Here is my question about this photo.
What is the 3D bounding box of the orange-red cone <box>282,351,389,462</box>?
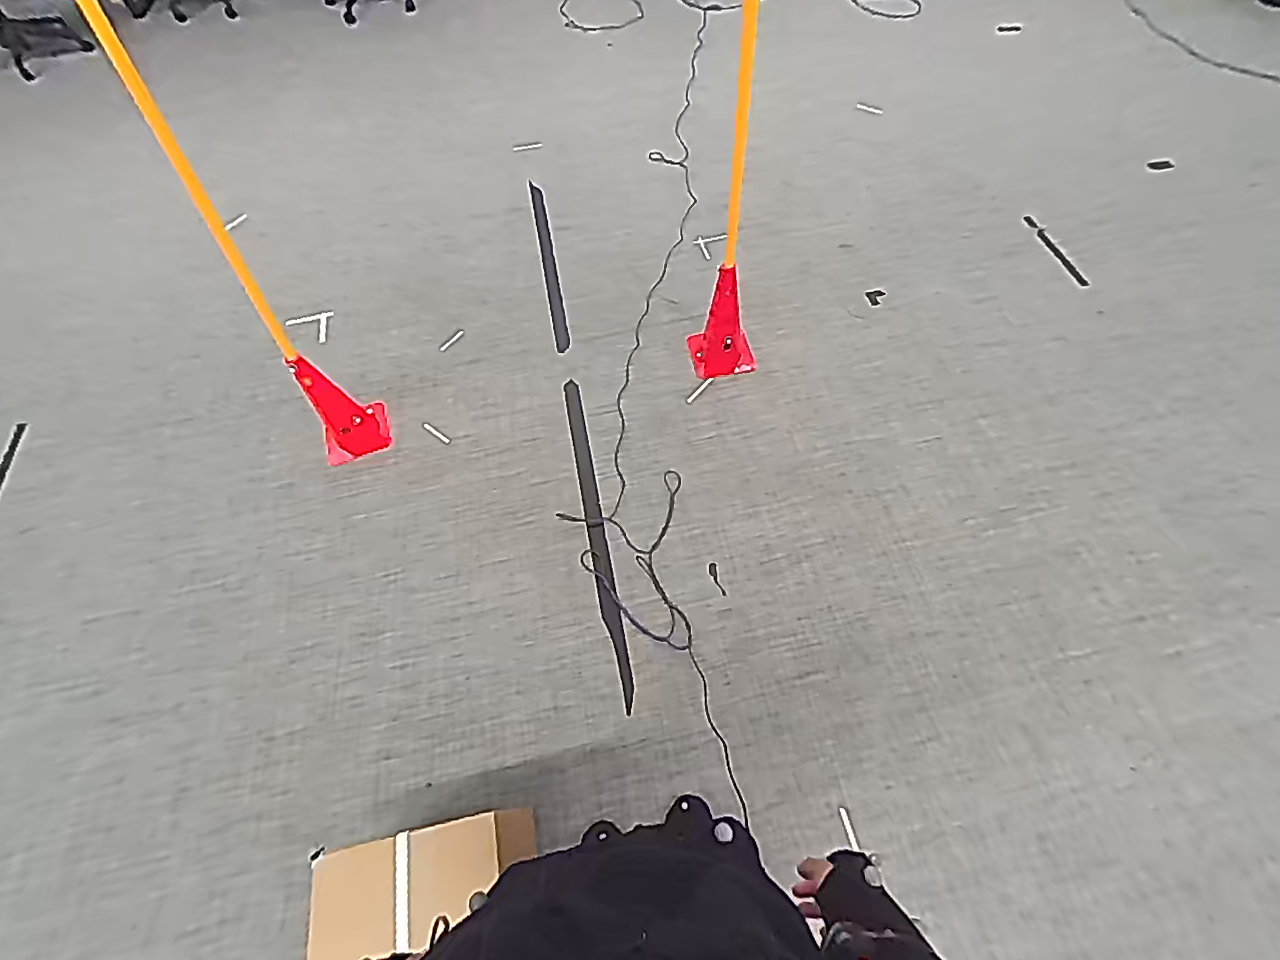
[{"bbox_3d":[-0.916,-0.239,1.576,0.199,0.360,0.198,-20,60,-7],"label":"orange-red cone"}]
